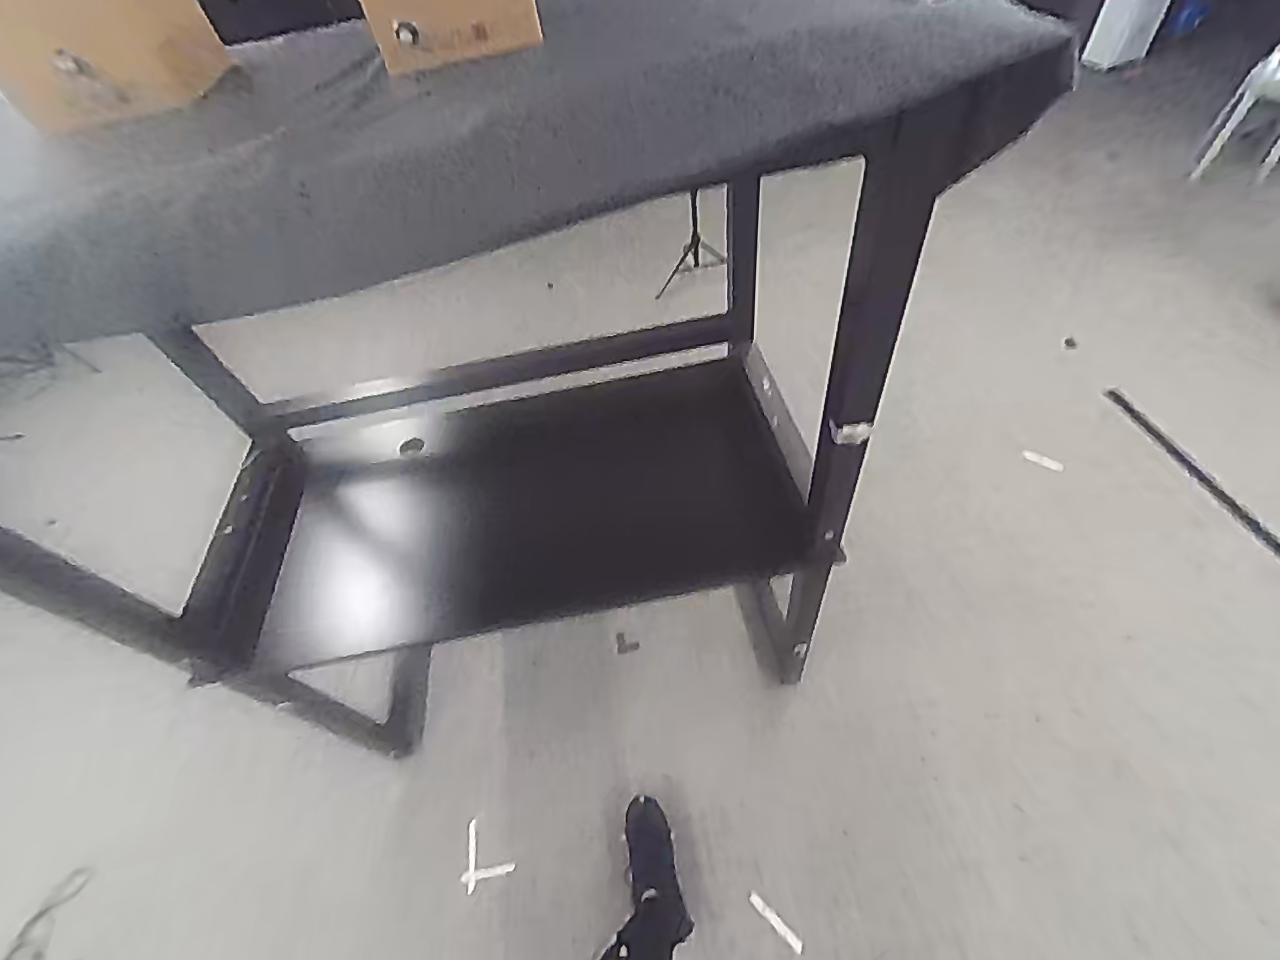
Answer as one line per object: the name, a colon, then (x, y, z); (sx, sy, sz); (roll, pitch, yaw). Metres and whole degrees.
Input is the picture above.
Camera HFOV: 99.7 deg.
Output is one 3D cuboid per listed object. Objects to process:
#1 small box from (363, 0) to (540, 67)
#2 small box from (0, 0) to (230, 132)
small box: (-0.206, -0.552, 0.554); (0.168, 0.176, 0.179); (-13, 50, -1)
small box: (-0.595, -0.506, 0.583); (0.168, 0.176, 0.179); (-14, 52, -1)
